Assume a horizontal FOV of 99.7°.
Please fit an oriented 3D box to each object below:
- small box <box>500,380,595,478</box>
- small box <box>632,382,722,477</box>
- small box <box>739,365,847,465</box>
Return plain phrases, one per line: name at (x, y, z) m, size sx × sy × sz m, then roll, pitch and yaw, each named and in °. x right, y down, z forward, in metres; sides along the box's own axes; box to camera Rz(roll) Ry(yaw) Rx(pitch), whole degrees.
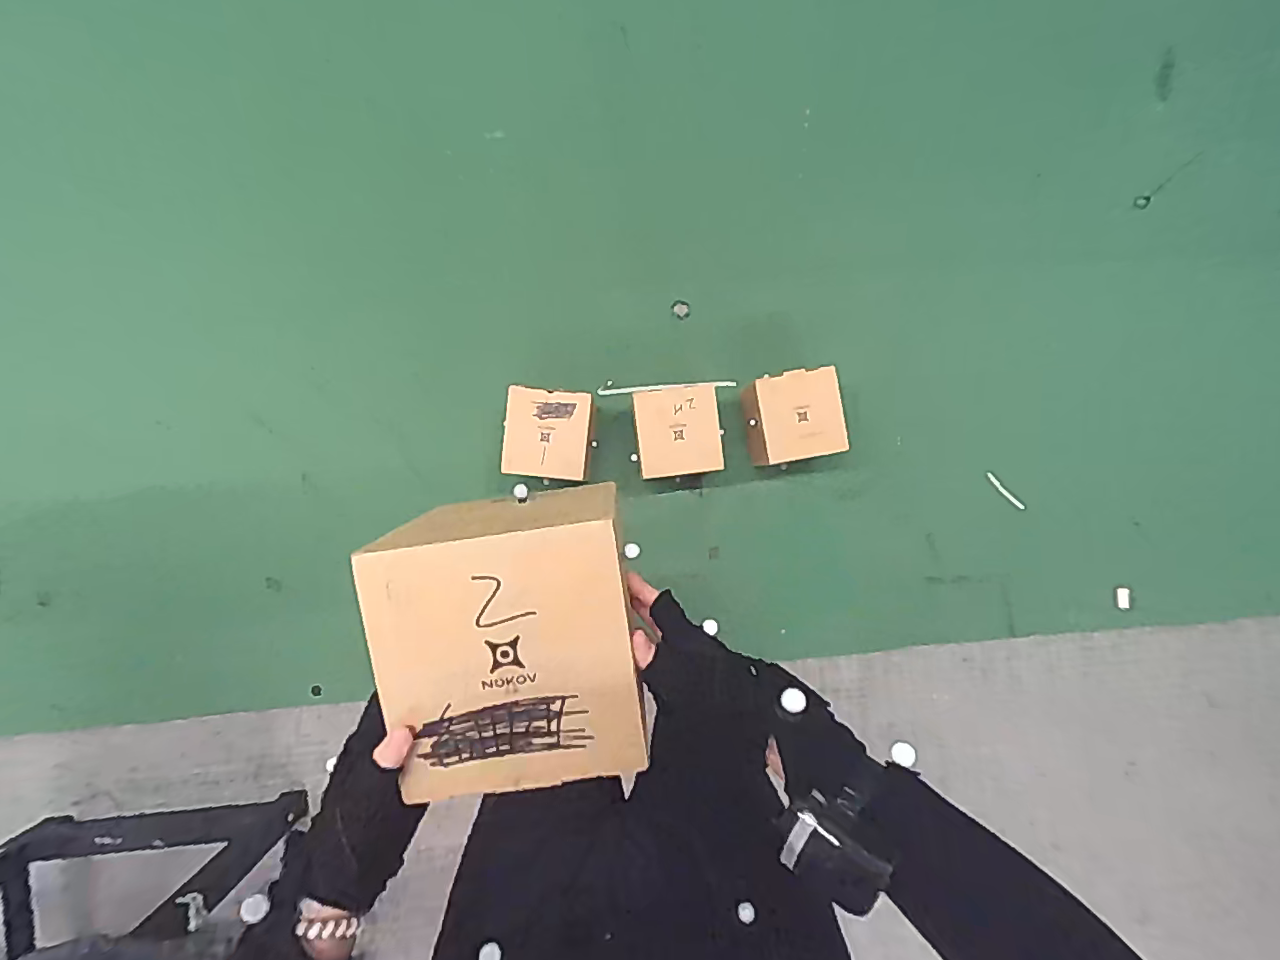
small box at (-0.186, -0.100, 1.136) m, size 0.168 × 0.176 × 0.179 m, roll 7°, pitch 91°, yaw -1°
small box at (0.072, -0.101, 1.144) m, size 0.168 × 0.176 × 0.179 m, roll -6°, pitch 90°, yaw -3°
small box at (0.318, -0.132, 1.155) m, size 0.168 × 0.176 × 0.179 m, roll -9°, pitch 90°, yaw -2°
